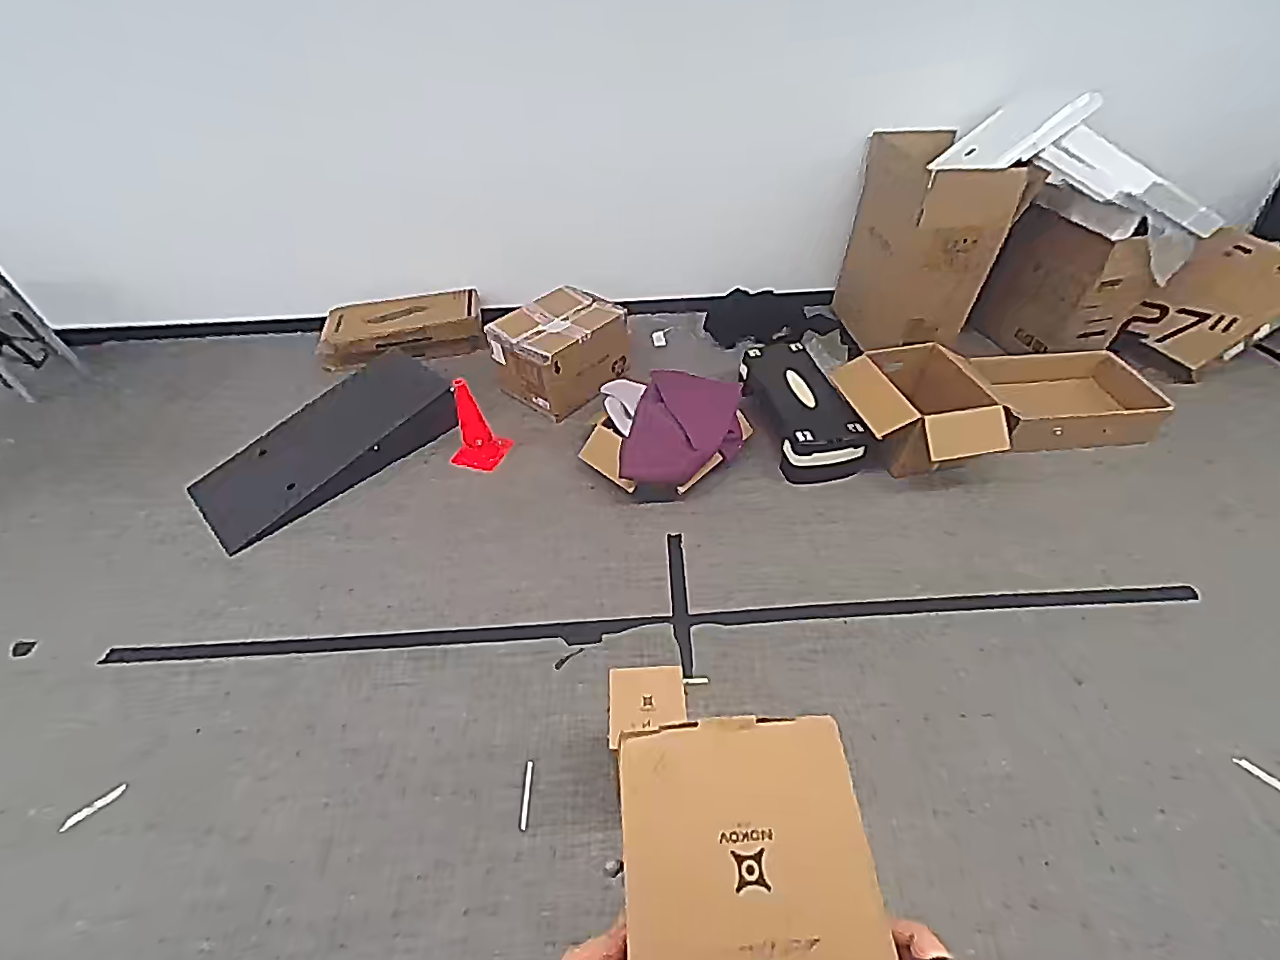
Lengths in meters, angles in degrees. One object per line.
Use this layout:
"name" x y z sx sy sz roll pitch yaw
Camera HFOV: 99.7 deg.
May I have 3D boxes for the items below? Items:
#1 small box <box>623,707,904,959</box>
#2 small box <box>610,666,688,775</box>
"small box" 0.071 0.290 0.416 0.168 0.176 0.179 -2 54 -3
"small box" 0.020 0.537 1.207 0.168 0.176 0.179 -2 46 0
